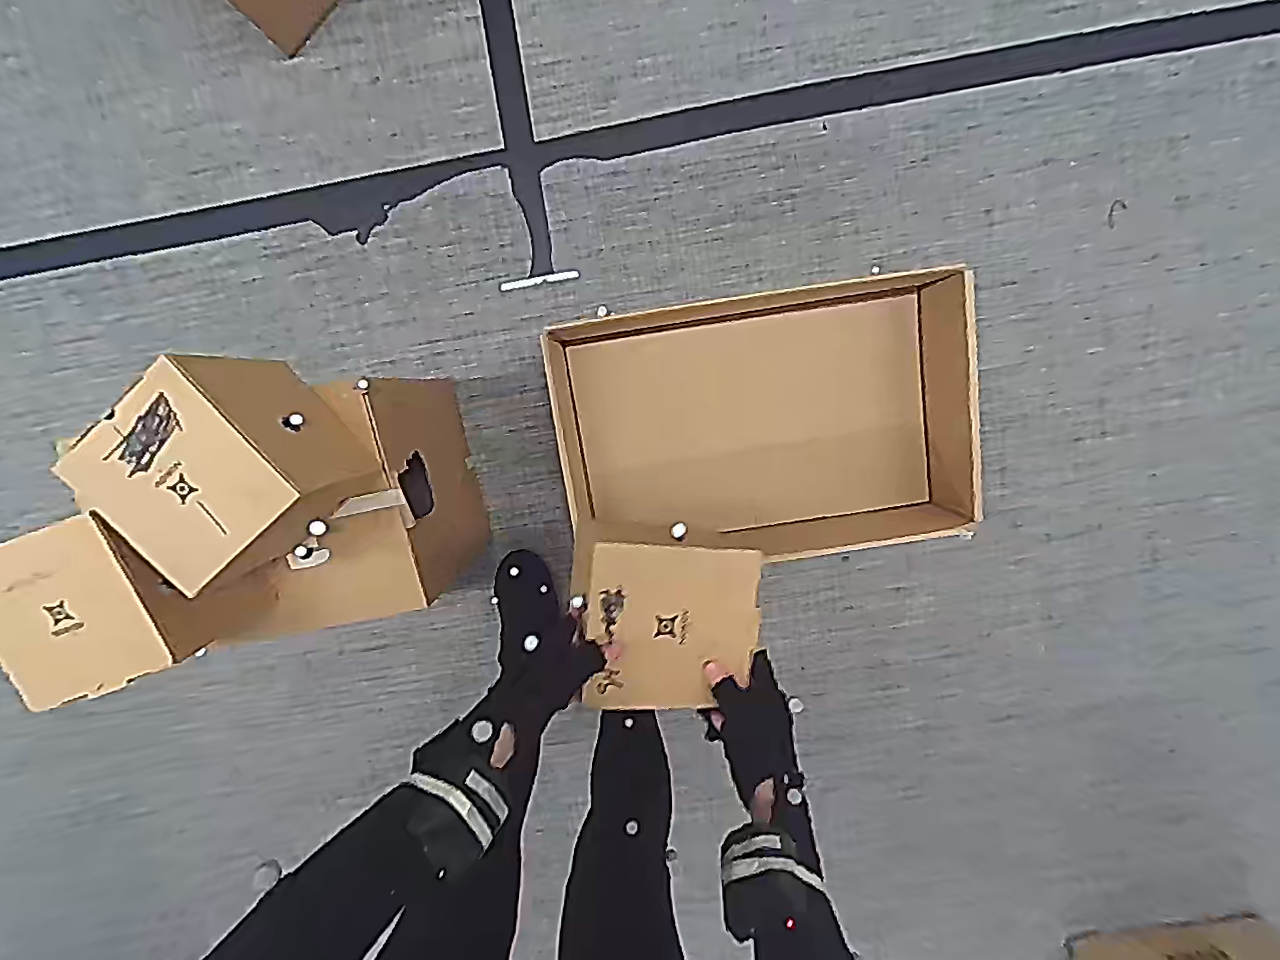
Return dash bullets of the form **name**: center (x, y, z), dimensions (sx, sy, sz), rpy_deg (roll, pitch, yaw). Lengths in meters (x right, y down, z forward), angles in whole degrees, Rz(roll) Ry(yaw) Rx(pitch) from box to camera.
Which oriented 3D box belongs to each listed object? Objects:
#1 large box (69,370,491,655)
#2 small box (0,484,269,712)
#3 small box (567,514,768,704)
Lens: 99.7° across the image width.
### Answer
- **large box**: center (-0.499, 0.028, 0.846), dimensions (0.408, 0.320, 0.320), rpy_deg (-12, 101, 2)
- **small box**: center (-0.577, 0.121, 0.617), dimensions (0.168, 0.176, 0.179), rpy_deg (-20, 99, 2)
- **small box**: center (0.020, 0.133, 0.608), dimensions (0.179, 0.176, 0.168), rpy_deg (5, 93, -13)
